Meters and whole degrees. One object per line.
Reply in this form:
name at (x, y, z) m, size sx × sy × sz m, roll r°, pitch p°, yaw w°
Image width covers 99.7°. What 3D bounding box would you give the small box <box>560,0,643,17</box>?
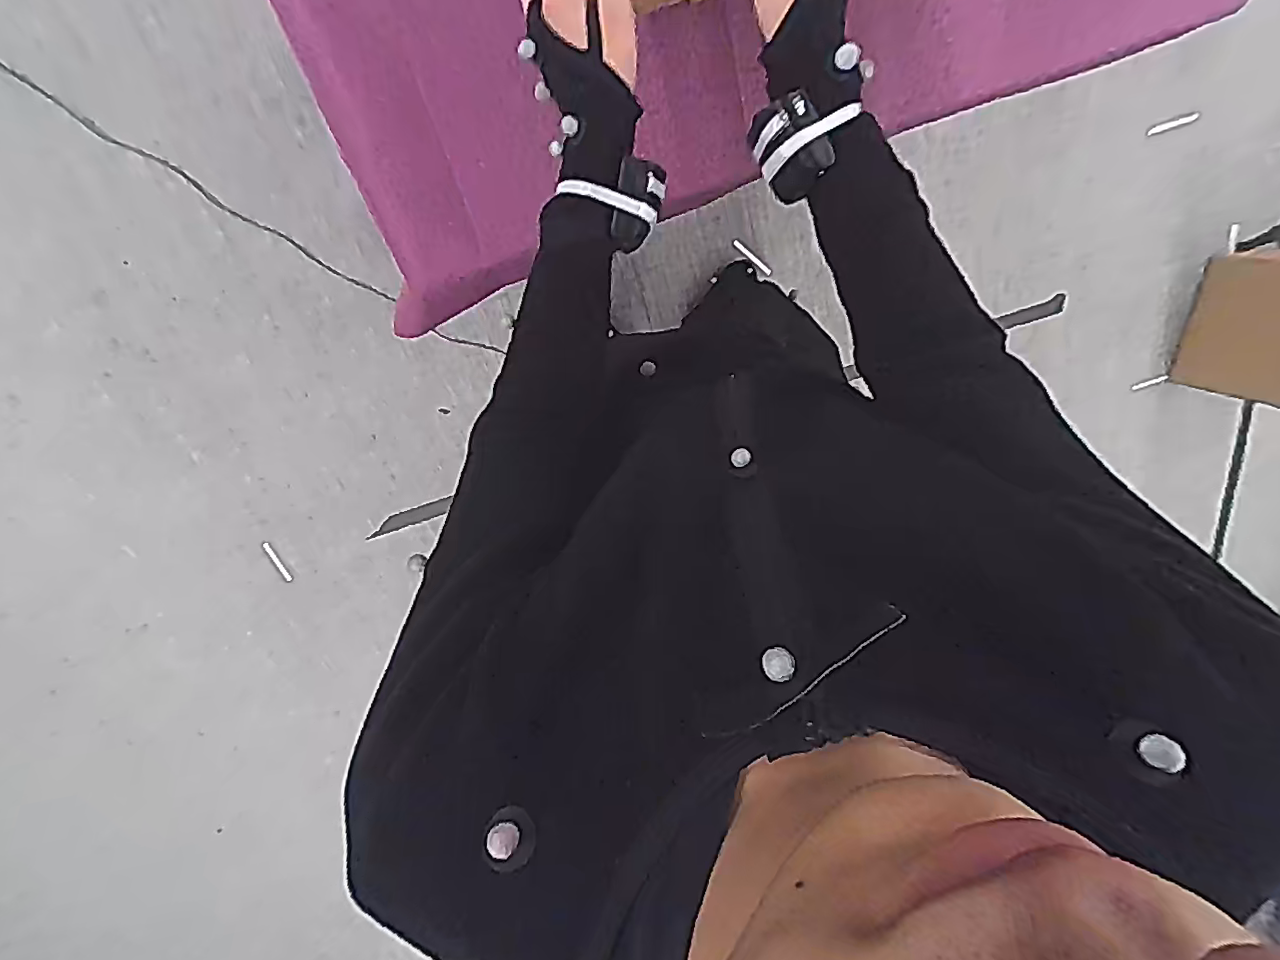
small box at (-0.005, -0.497, 0.412) m, size 0.168 × 0.176 × 0.179 m, roll -20°, pitch 114°, yaw -2°
